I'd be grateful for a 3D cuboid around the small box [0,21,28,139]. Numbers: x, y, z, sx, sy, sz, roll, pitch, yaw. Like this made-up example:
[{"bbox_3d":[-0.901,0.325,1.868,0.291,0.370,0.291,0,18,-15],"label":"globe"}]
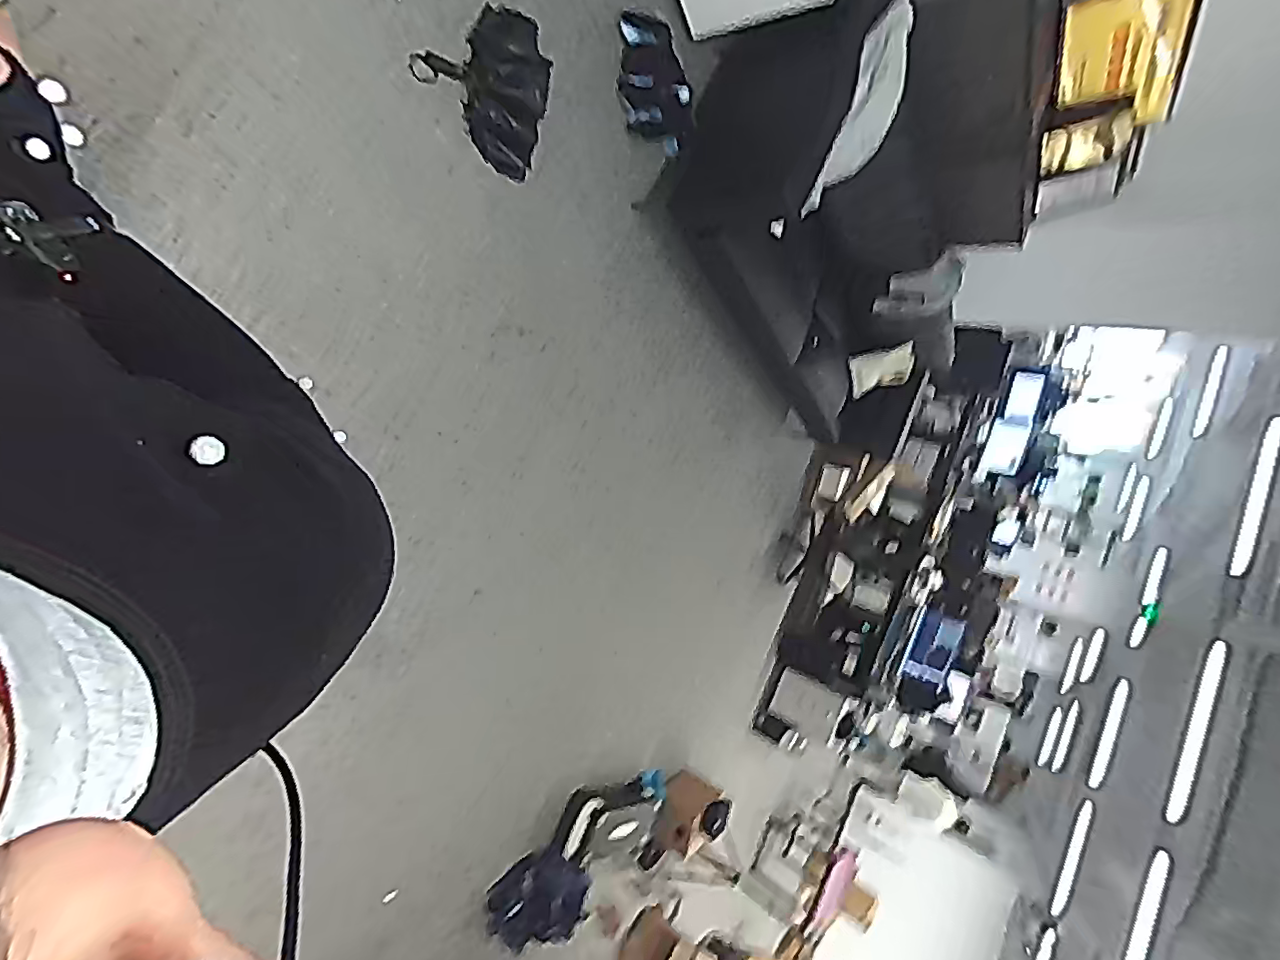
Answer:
[{"bbox_3d":[-0.619,-0.389,0.395,0.168,0.176,0.179,-15,101,-30],"label":"small box"}]
